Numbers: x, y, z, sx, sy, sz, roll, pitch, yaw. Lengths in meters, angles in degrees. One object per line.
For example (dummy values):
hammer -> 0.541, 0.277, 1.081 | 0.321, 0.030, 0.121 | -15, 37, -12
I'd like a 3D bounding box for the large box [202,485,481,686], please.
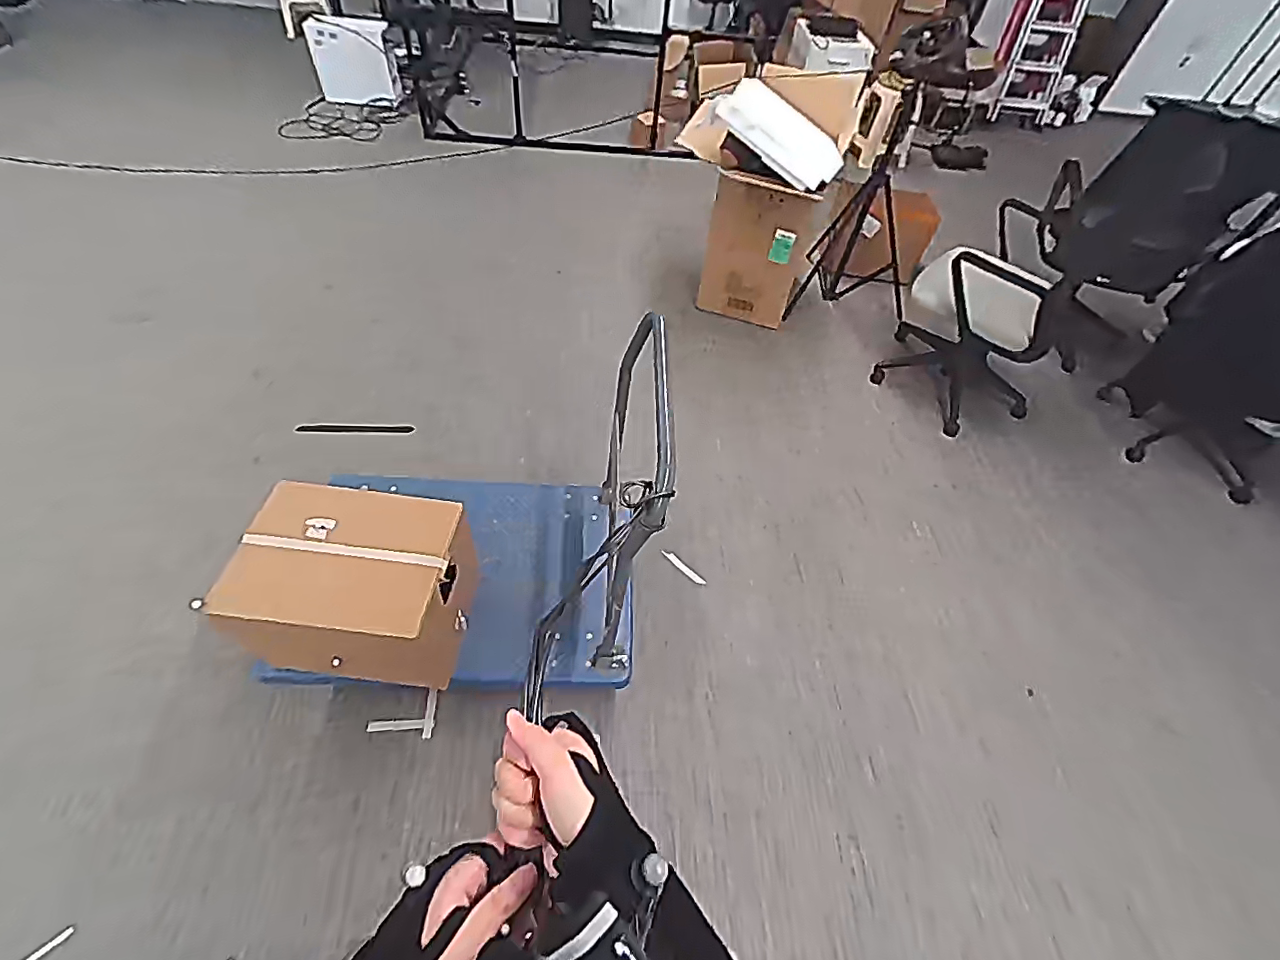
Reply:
large box -> -0.607, 0.242, 1.201 | 0.408, 0.320, 0.320 | 7, 51, 0
